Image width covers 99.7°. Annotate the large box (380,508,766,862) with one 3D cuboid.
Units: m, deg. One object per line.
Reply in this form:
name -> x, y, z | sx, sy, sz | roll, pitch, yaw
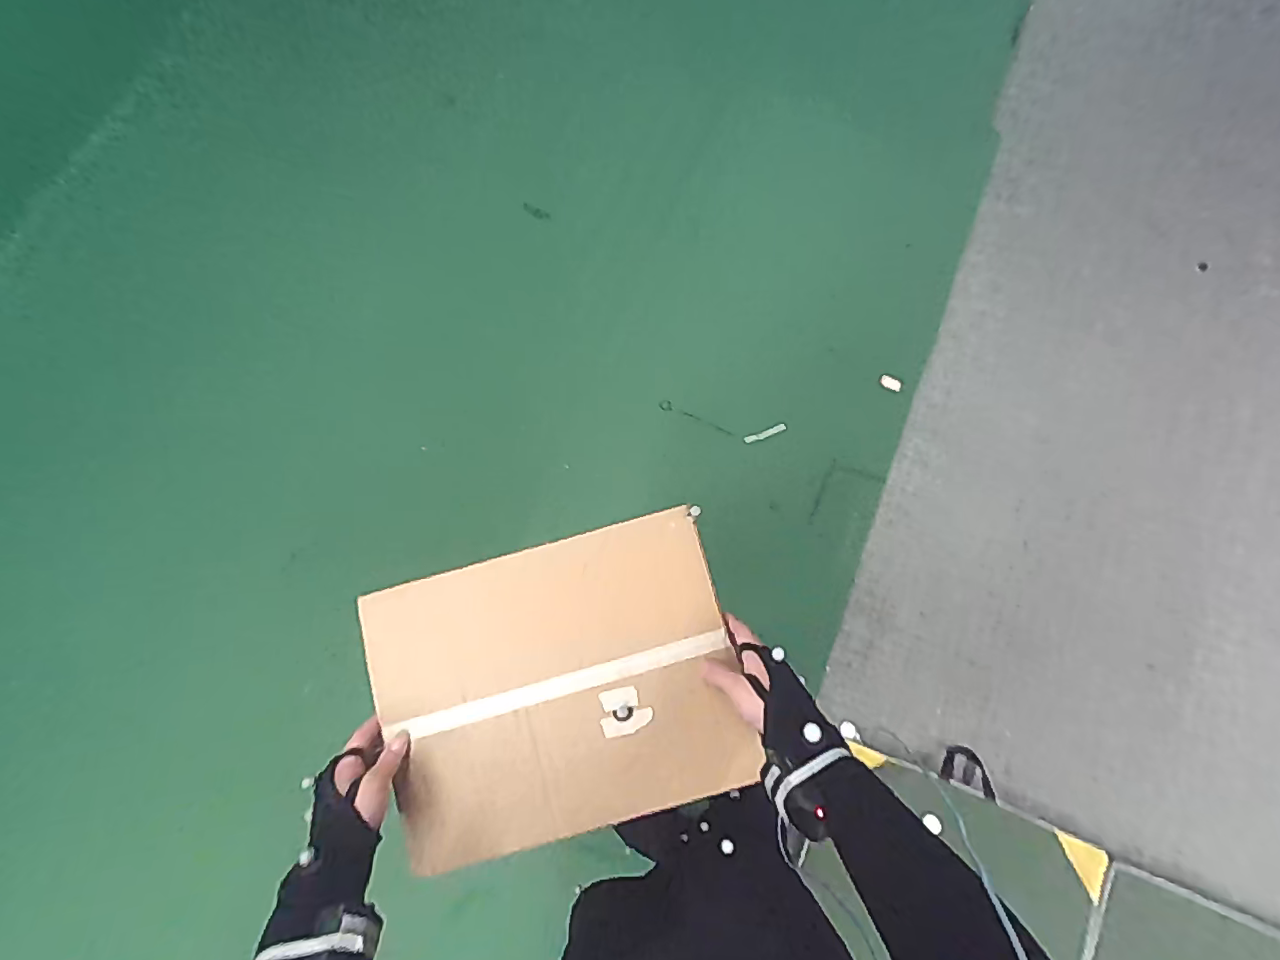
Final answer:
large box -> -0.082, 0.256, 0.775 | 0.408, 0.320, 0.320 | -15, 81, 0
